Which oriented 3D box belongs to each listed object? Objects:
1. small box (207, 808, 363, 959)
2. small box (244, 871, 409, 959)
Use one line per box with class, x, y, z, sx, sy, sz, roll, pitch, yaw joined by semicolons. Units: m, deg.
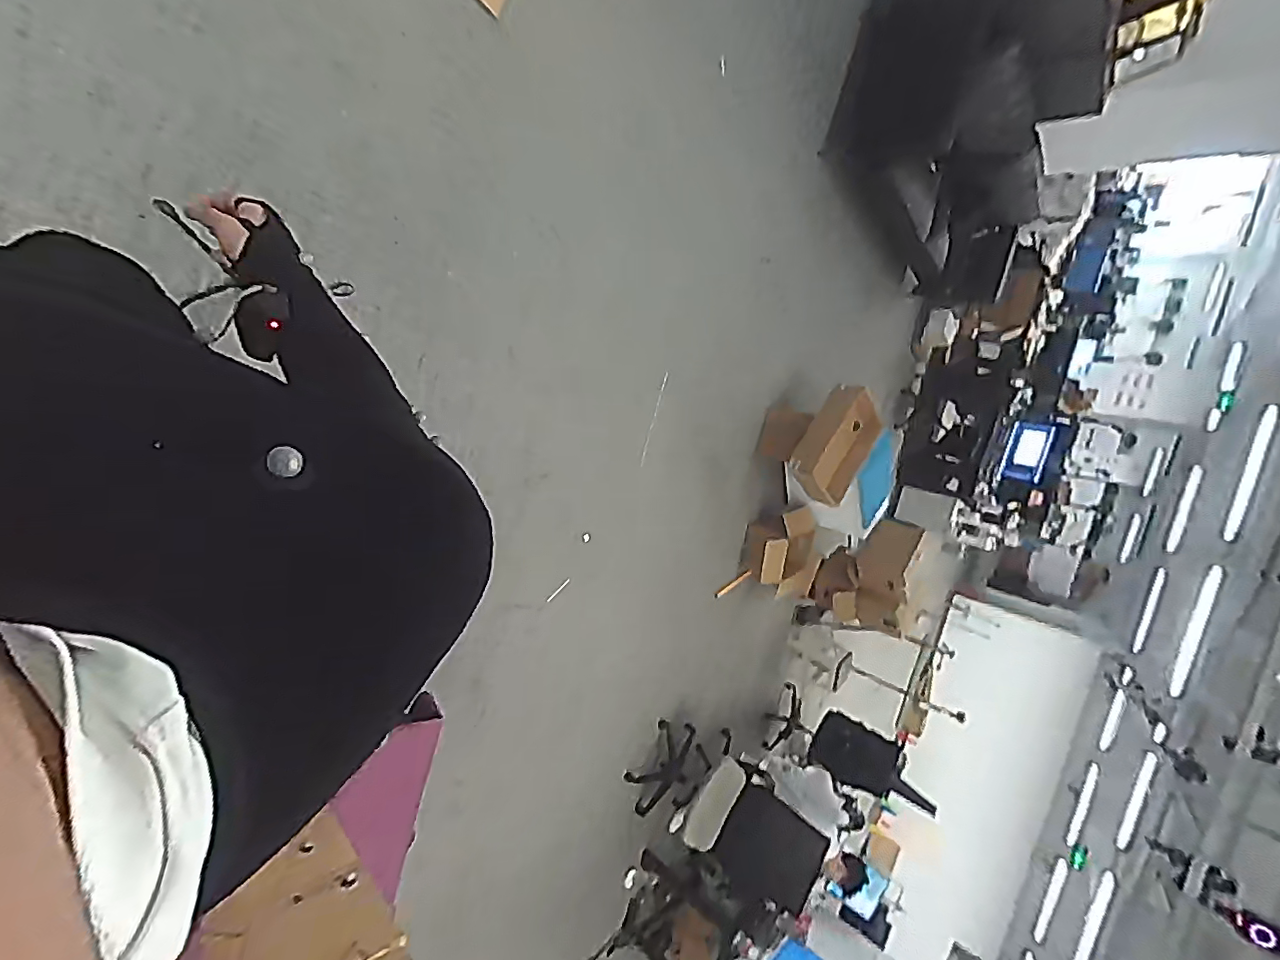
small box;-0.599;0.693;0.909;0.168;0.176;0.179;7;100;-51
small box;-0.477;0.733;0.806;0.168;0.176;0.179;8;100;-51
